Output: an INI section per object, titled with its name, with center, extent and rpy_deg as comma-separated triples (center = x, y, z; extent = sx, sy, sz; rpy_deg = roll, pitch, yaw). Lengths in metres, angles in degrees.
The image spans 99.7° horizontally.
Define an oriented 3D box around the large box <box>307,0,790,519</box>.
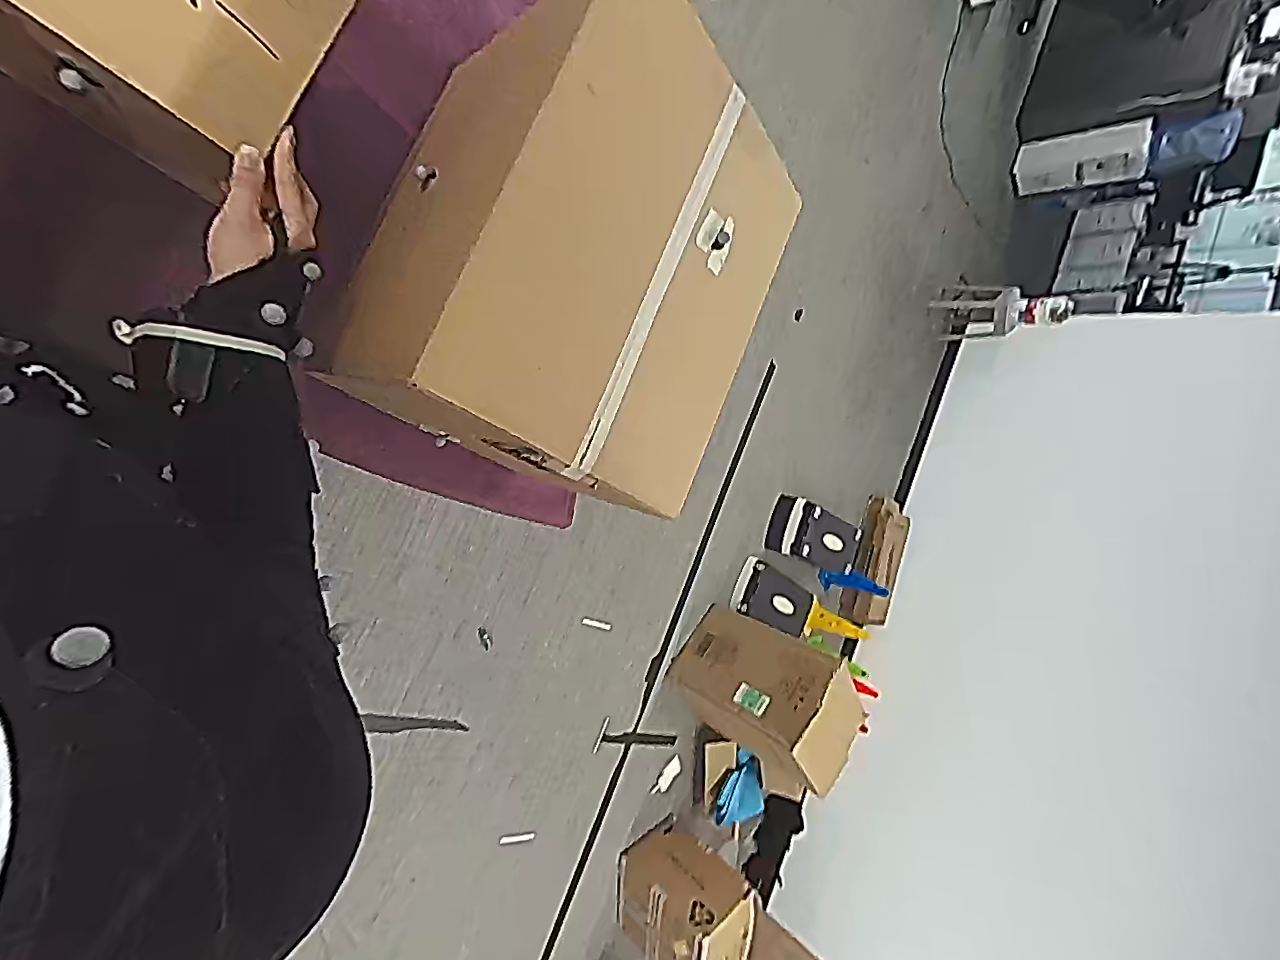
[large box]
center = -0.092, -0.213, 0.599
extent = 0.320, 0.320, 0.408
rpy_deg = 30, 78, -46
